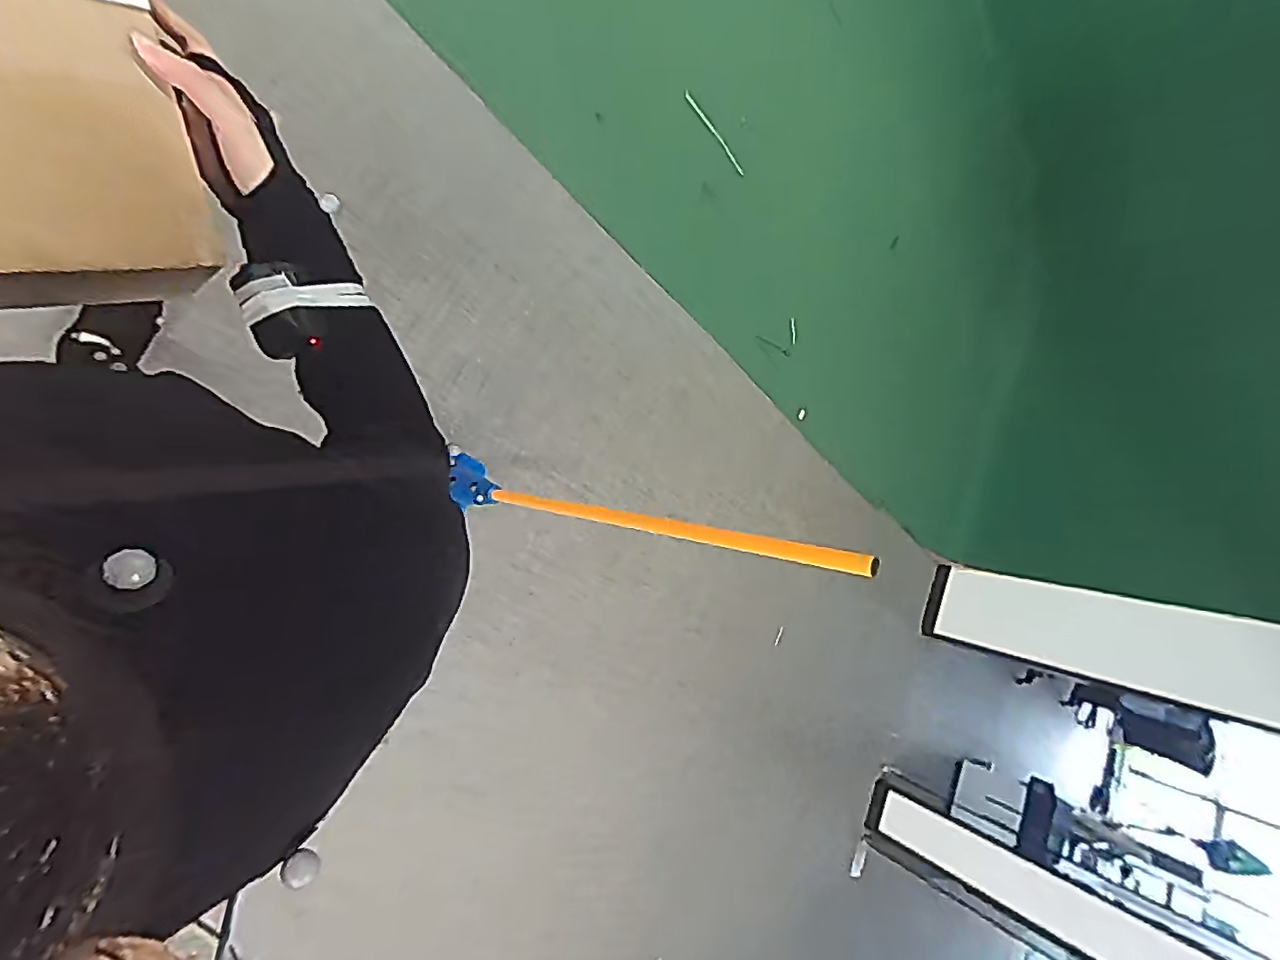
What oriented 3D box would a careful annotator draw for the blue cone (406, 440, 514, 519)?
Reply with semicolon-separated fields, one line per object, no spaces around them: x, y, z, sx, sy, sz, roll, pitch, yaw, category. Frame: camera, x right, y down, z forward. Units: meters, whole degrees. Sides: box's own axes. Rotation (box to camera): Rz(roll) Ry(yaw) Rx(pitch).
-0.419;0.014;1.363;0.193;0.380;0.192;31;75;-38;blue cone
